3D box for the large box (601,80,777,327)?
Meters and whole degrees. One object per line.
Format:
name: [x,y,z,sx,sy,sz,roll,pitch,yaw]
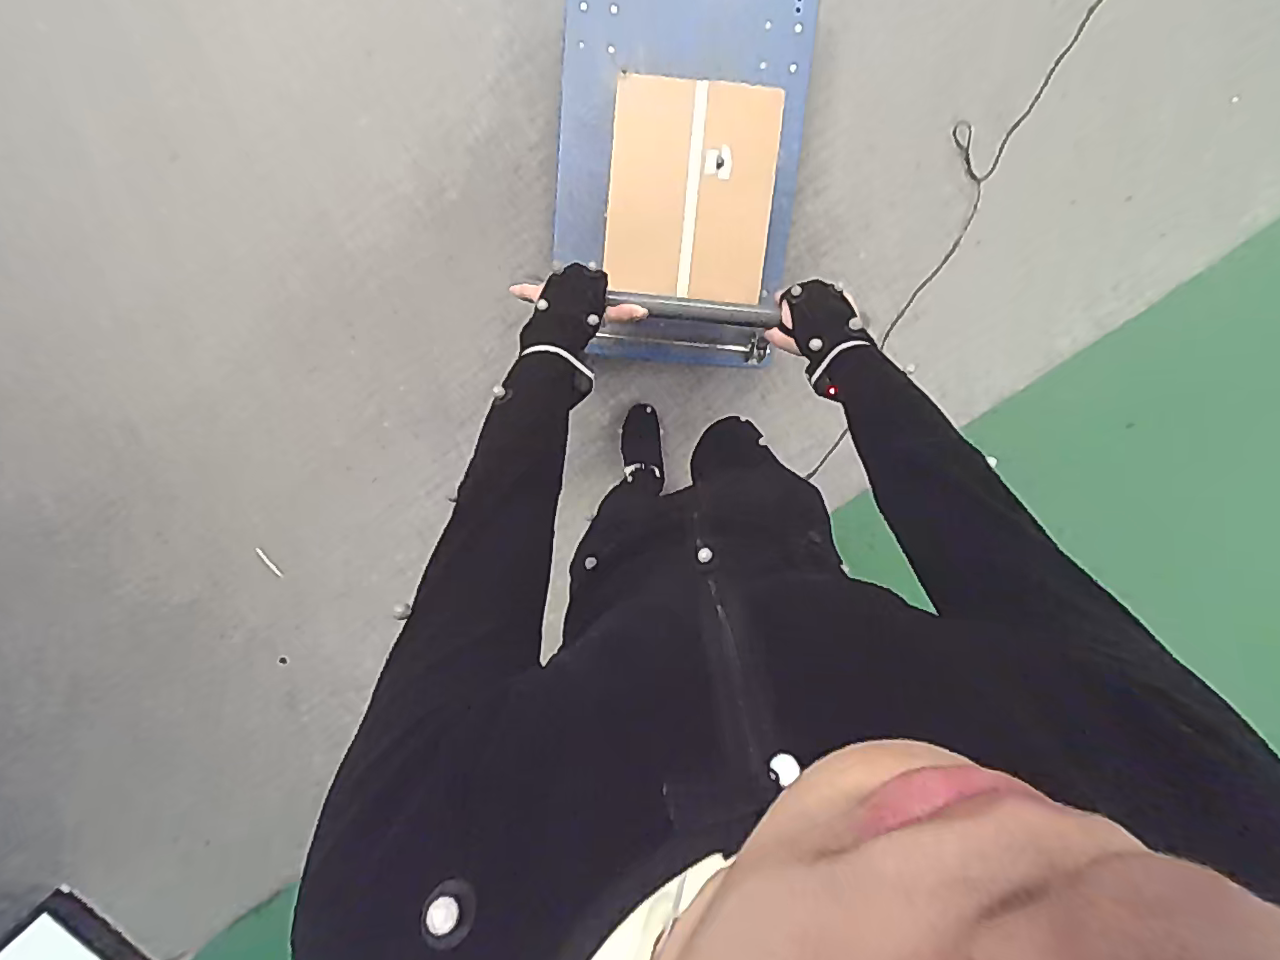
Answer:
large box: [0.091,-0.568,1.195,0.320,0.320,0.408,5,100,-2]
